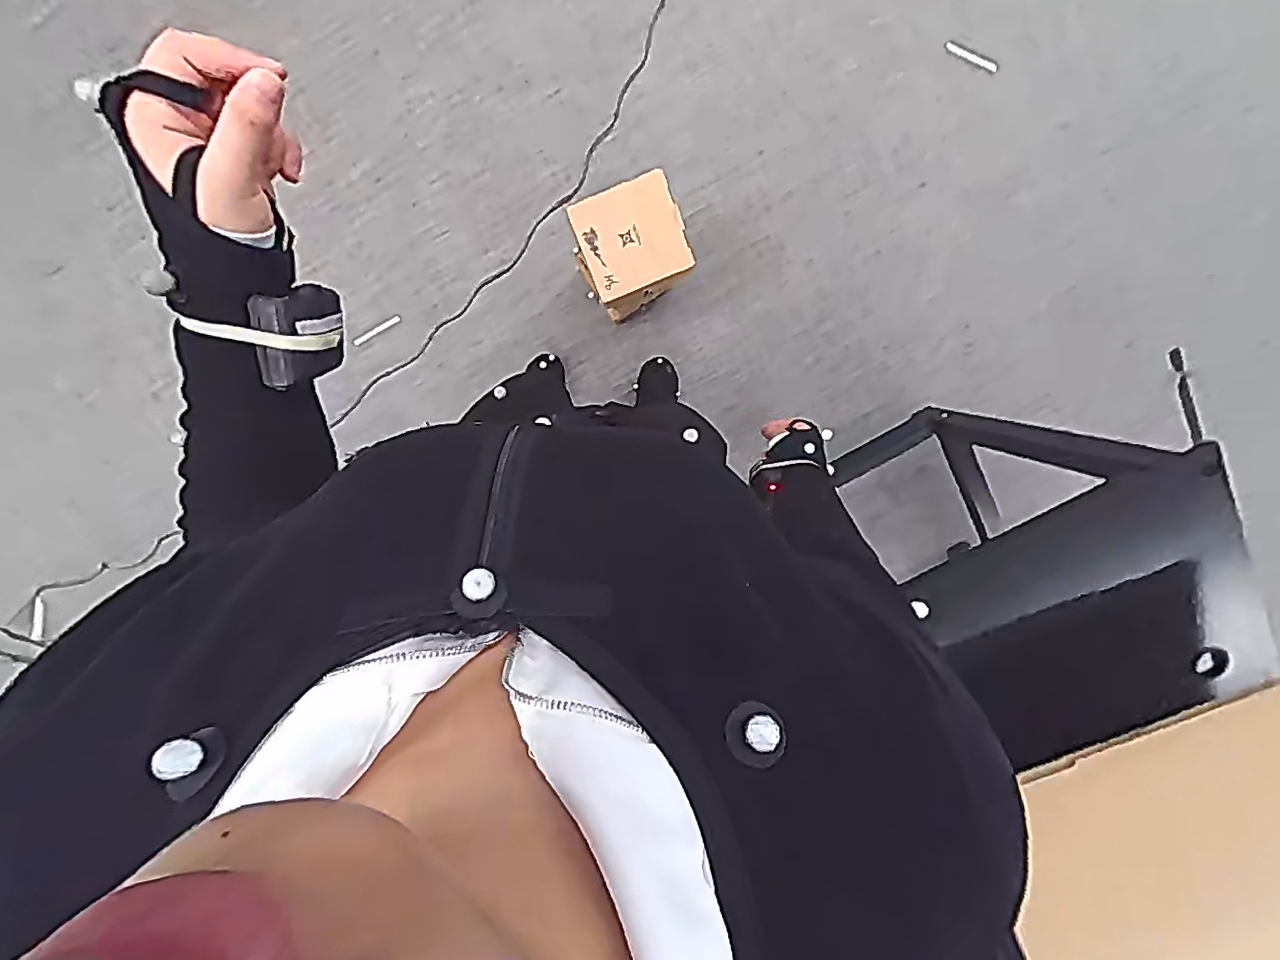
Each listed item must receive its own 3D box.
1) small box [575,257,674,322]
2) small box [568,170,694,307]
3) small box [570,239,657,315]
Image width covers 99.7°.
[{"bbox_3d":[-0.039,-0.502,1.312,0.179,0.176,0.168,-32,102,6],"label":"small box"},{"bbox_3d":[-0.020,-0.432,0.995,0.179,0.176,0.168,-22,103,2],"label":"small box"},{"bbox_3d":[-0.028,-0.471,1.154,0.179,0.176,0.168,-36,103,4],"label":"small box"}]
